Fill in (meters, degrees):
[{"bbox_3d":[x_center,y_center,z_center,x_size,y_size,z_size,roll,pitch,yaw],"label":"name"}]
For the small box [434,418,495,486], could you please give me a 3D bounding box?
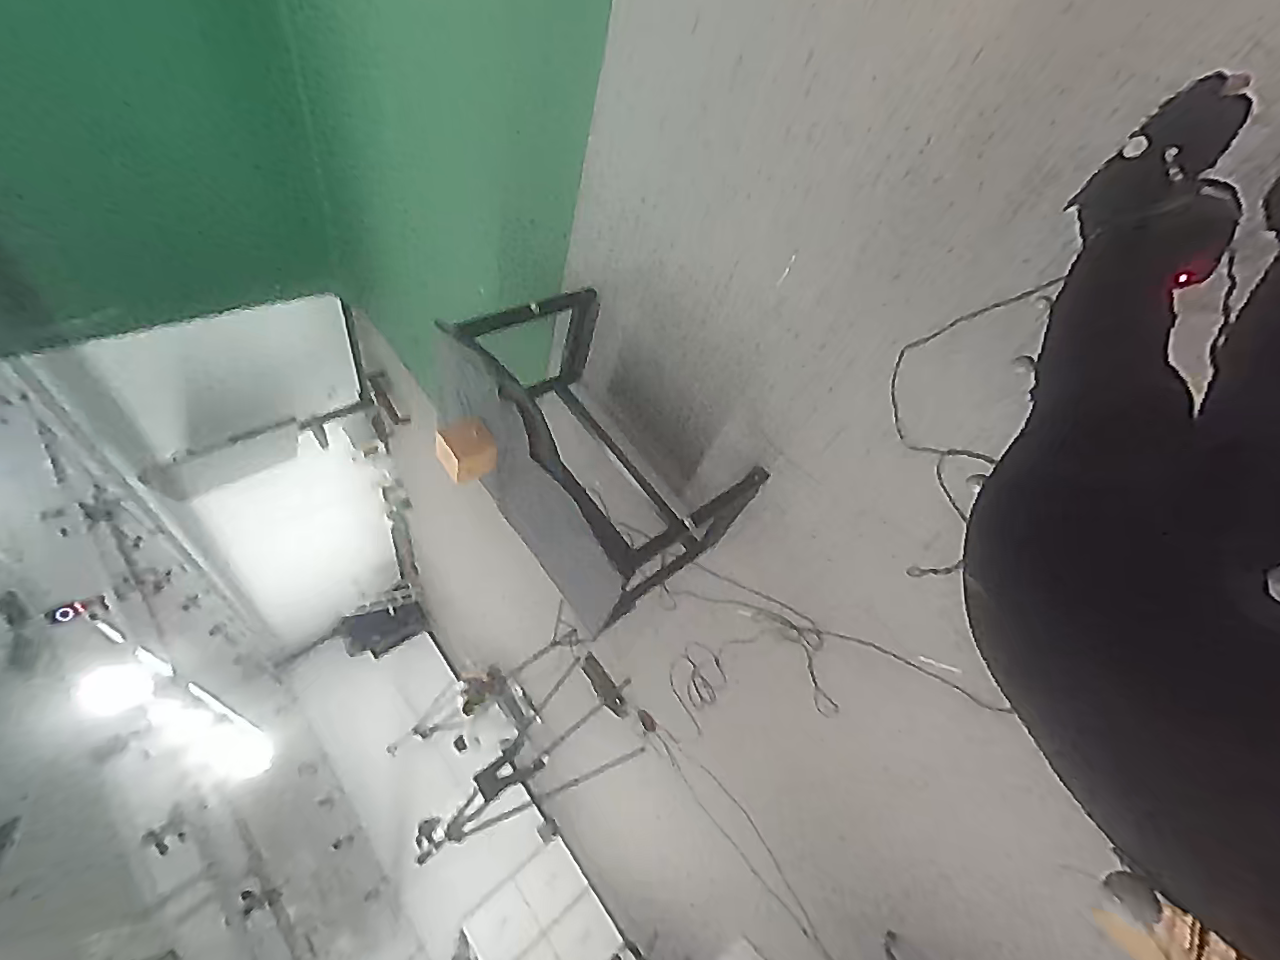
[{"bbox_3d":[-0.675,-0.109,2.078,0.168,0.176,0.179,51,145,14],"label":"small box"}]
